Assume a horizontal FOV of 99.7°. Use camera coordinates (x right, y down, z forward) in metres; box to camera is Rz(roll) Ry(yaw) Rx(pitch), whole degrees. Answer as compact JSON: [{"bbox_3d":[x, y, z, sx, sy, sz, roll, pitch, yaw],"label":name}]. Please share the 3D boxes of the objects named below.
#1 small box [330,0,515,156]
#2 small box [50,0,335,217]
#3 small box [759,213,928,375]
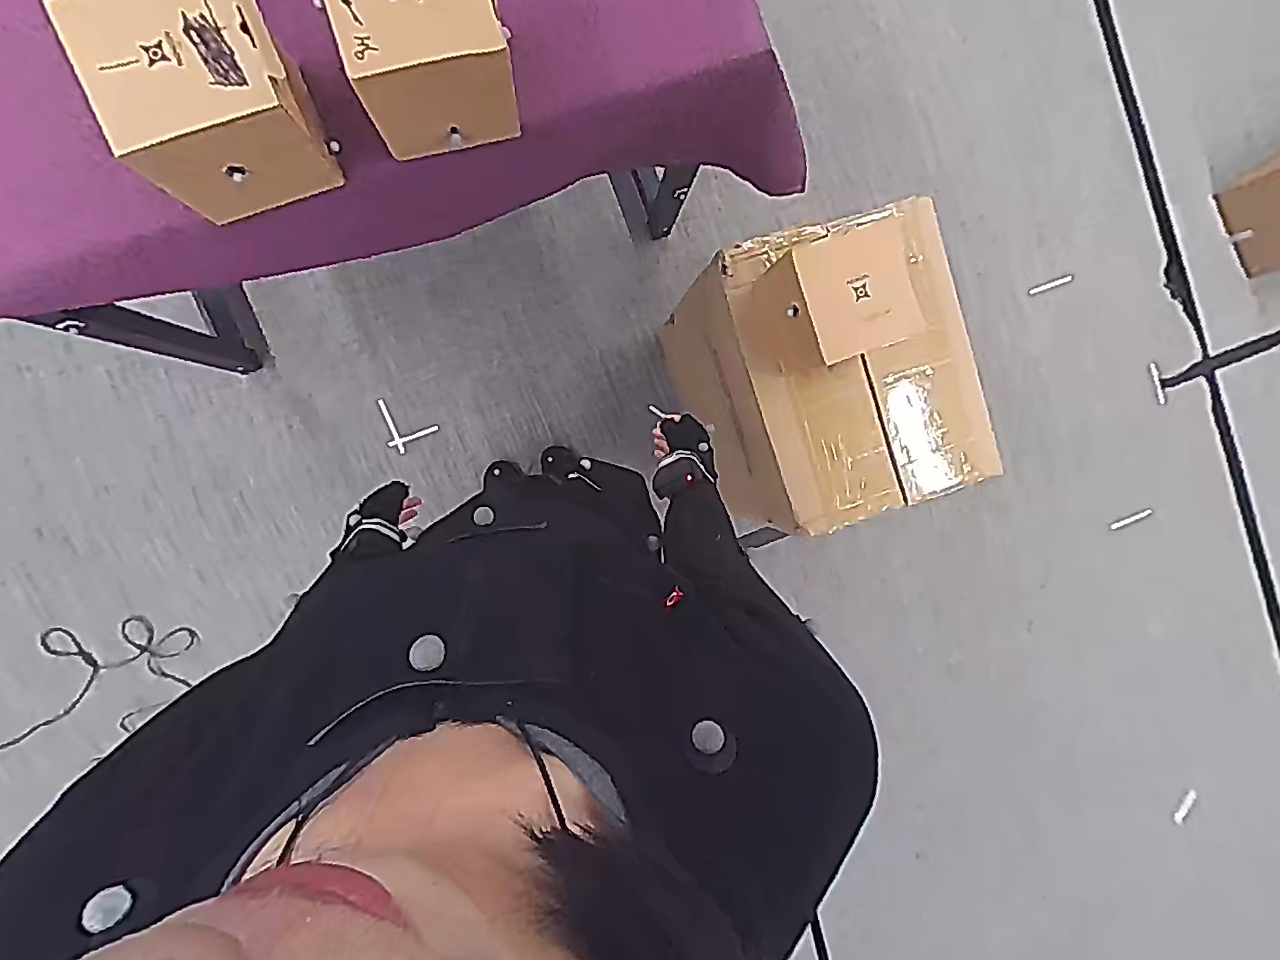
[{"bbox_3d":[-0.257,-0.533,0.659,0.179,0.176,0.168,-16,94,-7],"label":"small box"},{"bbox_3d":[-0.490,-0.442,0.631,0.179,0.176,0.168,-22,94,-5],"label":"small box"},{"bbox_3d":[0.307,-0.279,0.849,0.168,0.176,0.179,-20,96,-4],"label":"small box"}]
